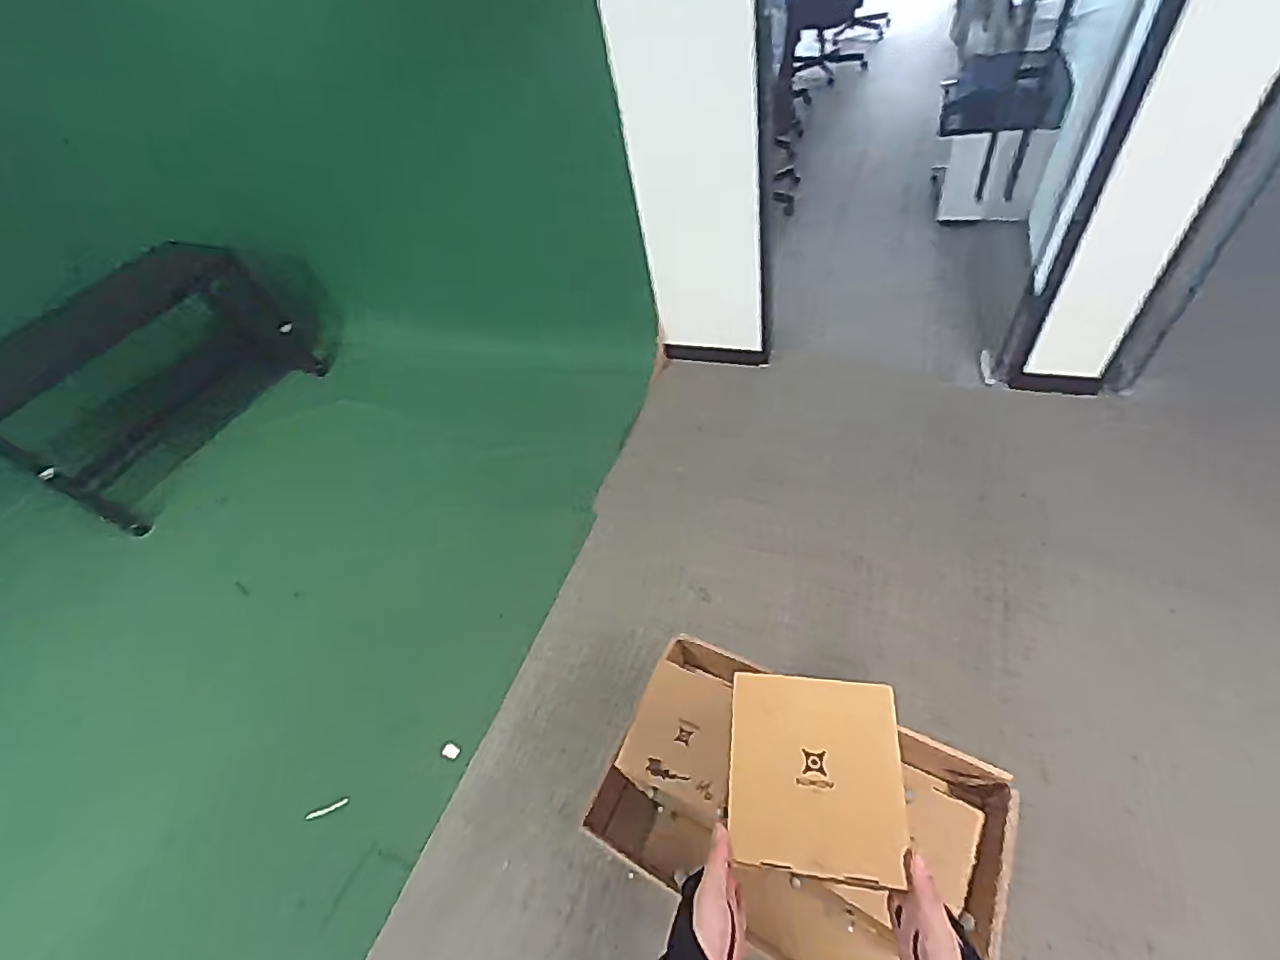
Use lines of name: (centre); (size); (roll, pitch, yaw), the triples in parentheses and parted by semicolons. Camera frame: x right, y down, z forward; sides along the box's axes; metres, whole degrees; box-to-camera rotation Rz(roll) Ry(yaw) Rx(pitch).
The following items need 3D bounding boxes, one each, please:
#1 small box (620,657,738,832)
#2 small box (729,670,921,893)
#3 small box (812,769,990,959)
small box: (0.091, 0.421, 0.860); (0.168, 0.176, 0.179); (15, 55, 25)
small box: (0.184, 0.325, 0.589); (0.168, 0.176, 0.179); (1, 56, 11)
small box: (0.340, 0.503, 0.732); (0.168, 0.176, 0.179); (20, 58, 28)
